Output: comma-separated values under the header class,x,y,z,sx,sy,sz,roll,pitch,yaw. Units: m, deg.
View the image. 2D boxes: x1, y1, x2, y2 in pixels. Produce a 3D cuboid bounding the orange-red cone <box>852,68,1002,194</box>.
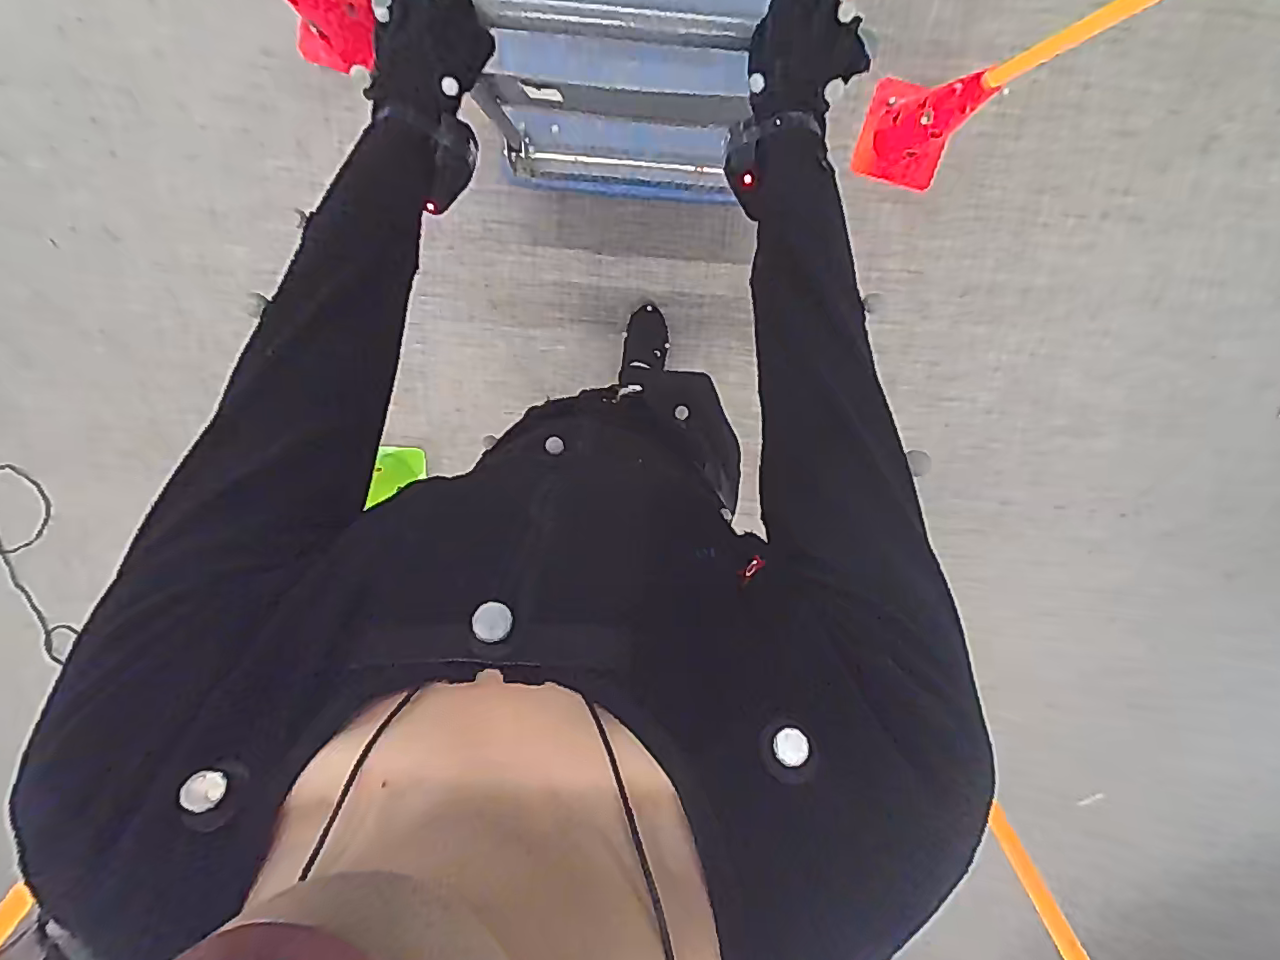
class,x,y,z,sx,sy,sz,roll,pitch,yaw
orange-red cone,0.609,-0.736,1.091,0.198,0.360,0.199,15,109,-3
